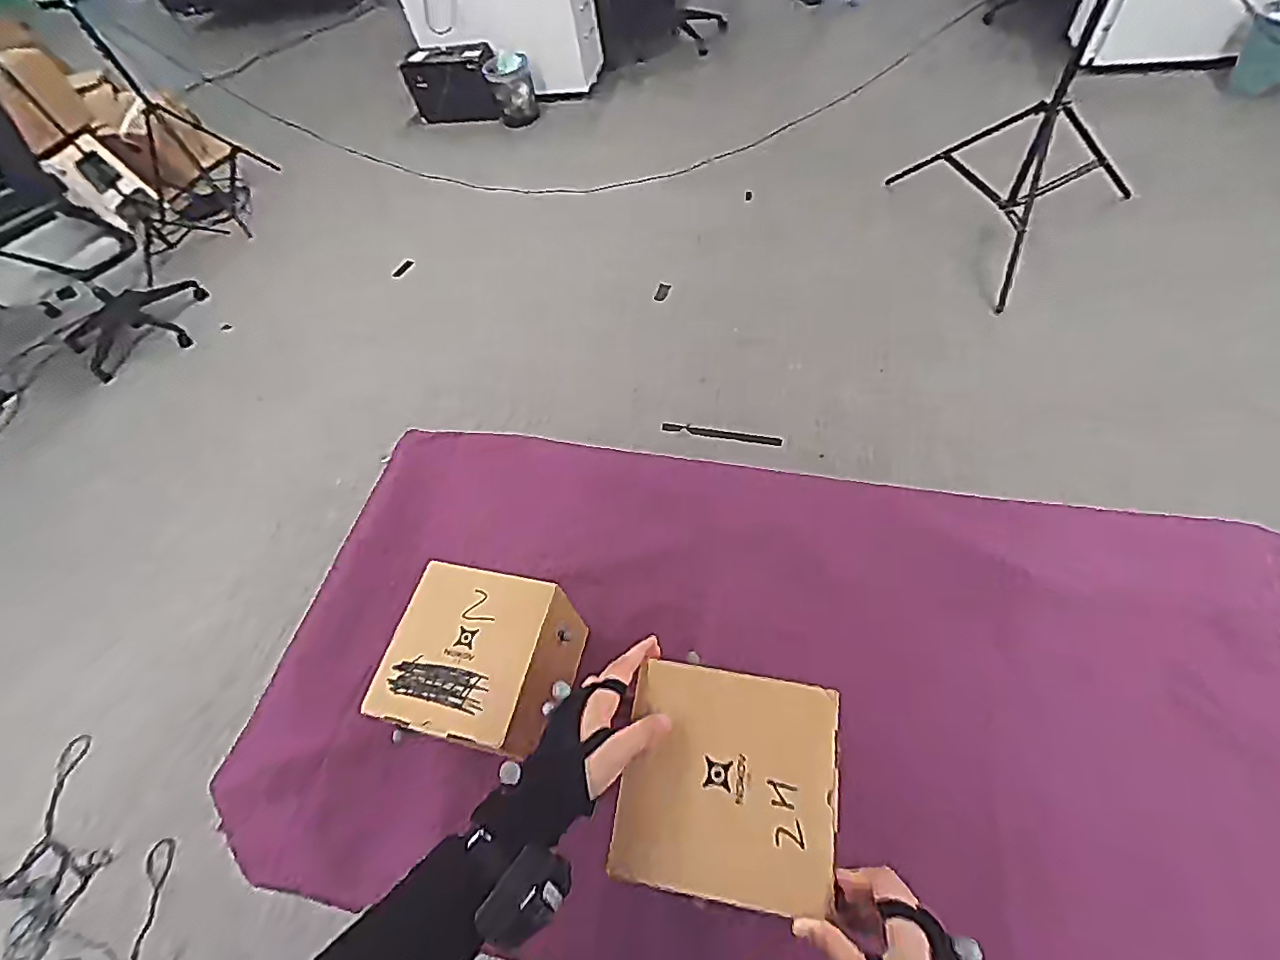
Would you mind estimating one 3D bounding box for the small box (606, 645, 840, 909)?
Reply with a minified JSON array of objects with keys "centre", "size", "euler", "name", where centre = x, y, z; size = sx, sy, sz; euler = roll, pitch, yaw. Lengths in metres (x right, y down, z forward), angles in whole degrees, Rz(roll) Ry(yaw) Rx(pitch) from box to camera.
[{"centre":[0.077,0.269,0.516],"size":[0.179,0.176,0.168],"euler":[9,65,7],"name":"small box"}]
